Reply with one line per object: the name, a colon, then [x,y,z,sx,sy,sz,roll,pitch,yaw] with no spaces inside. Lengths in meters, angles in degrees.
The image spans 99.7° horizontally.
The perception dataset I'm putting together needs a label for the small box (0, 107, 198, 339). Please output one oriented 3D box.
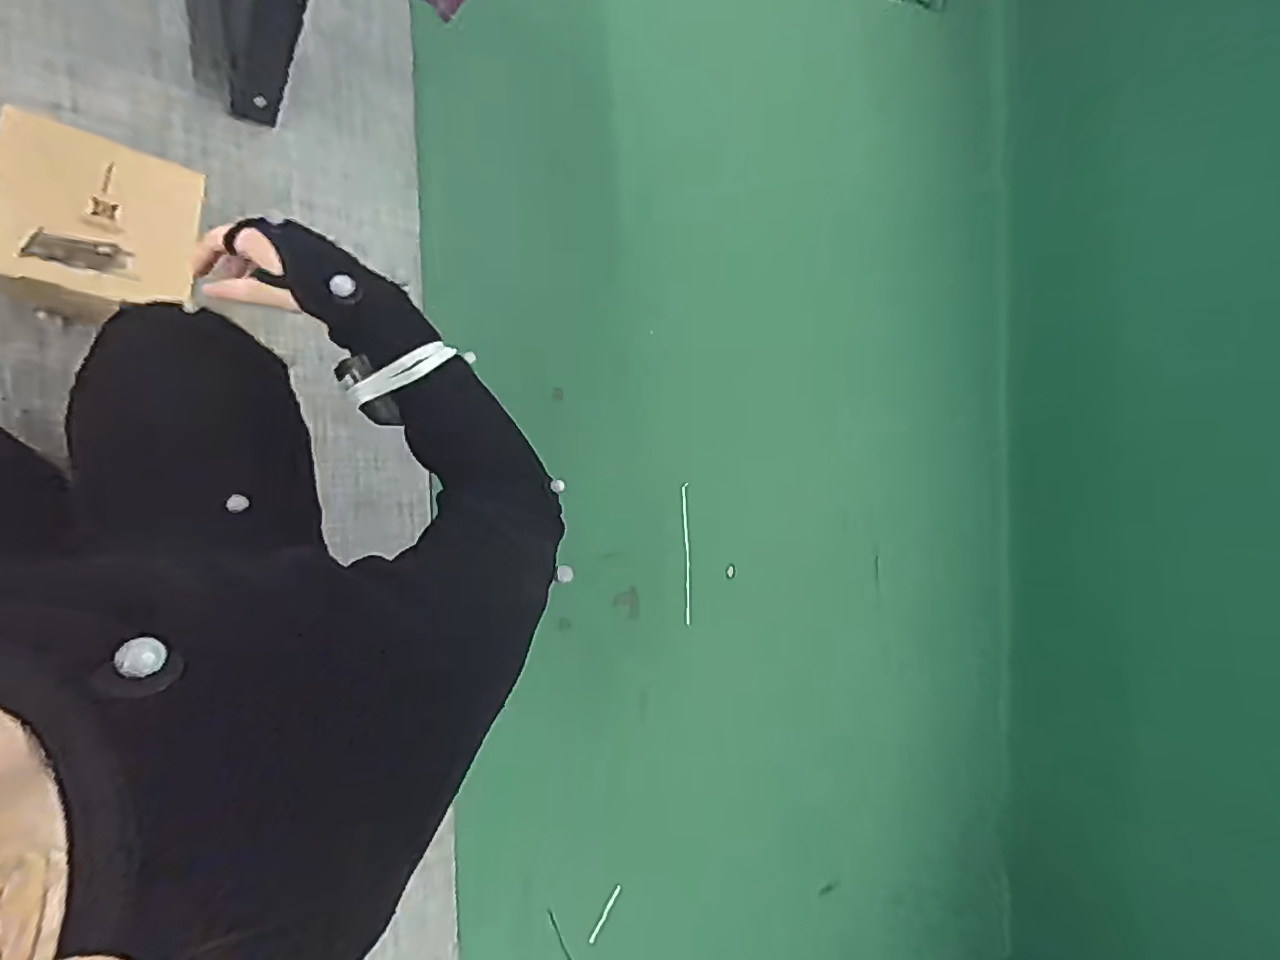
small box: [-0.653,-0.286,0.656,0.168,0.176,0.179,8,84,-40]
